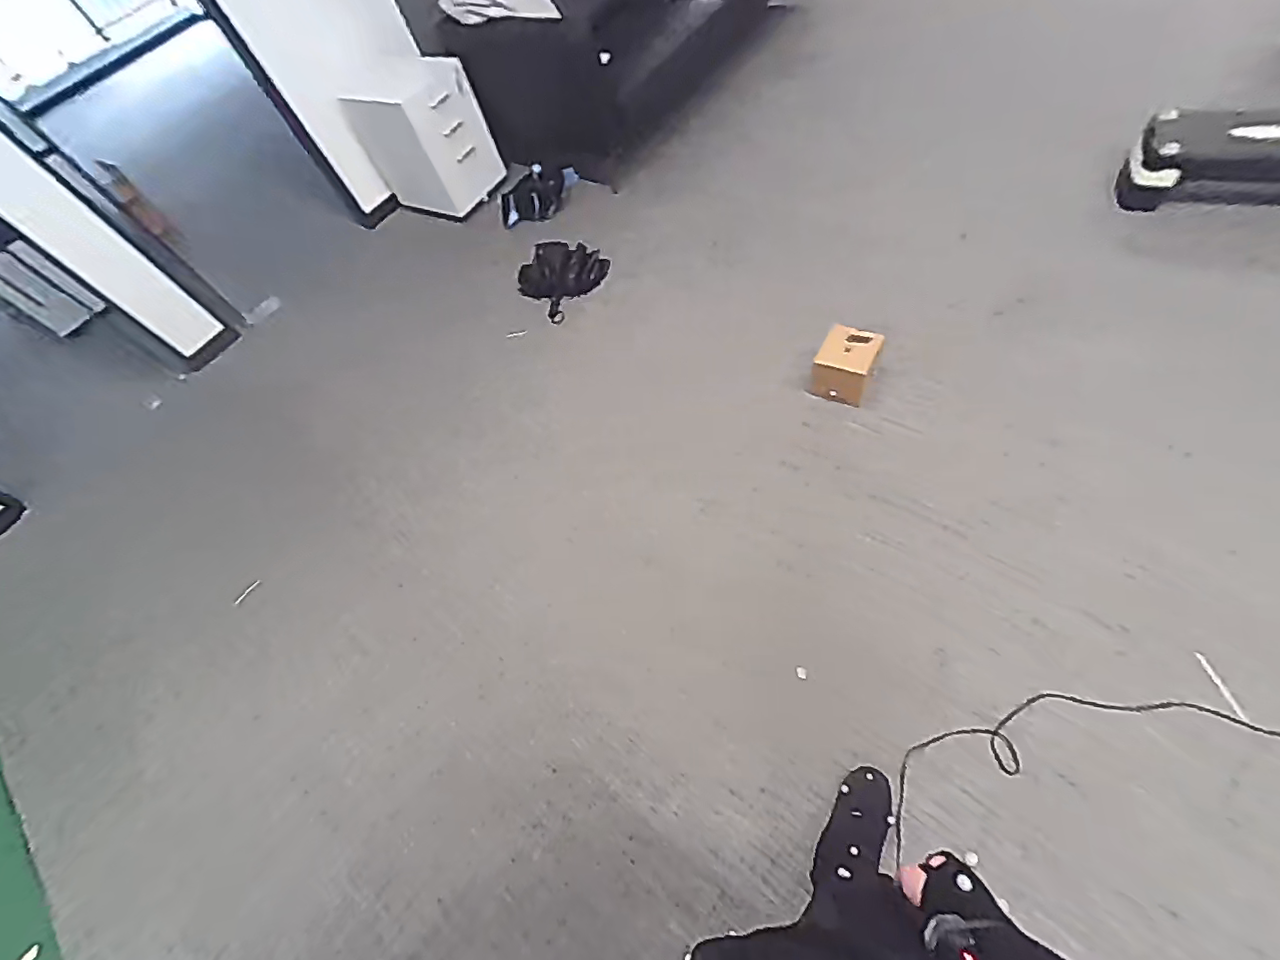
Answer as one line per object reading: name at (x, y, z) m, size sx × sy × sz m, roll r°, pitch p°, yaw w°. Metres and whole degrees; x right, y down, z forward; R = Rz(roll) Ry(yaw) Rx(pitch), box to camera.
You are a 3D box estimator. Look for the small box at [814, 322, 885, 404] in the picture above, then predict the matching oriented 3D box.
small box at (0.676, -0.379, 1.764) m, size 0.168 × 0.176 × 0.179 m, roll 22°, pitch 68°, yaw 26°
